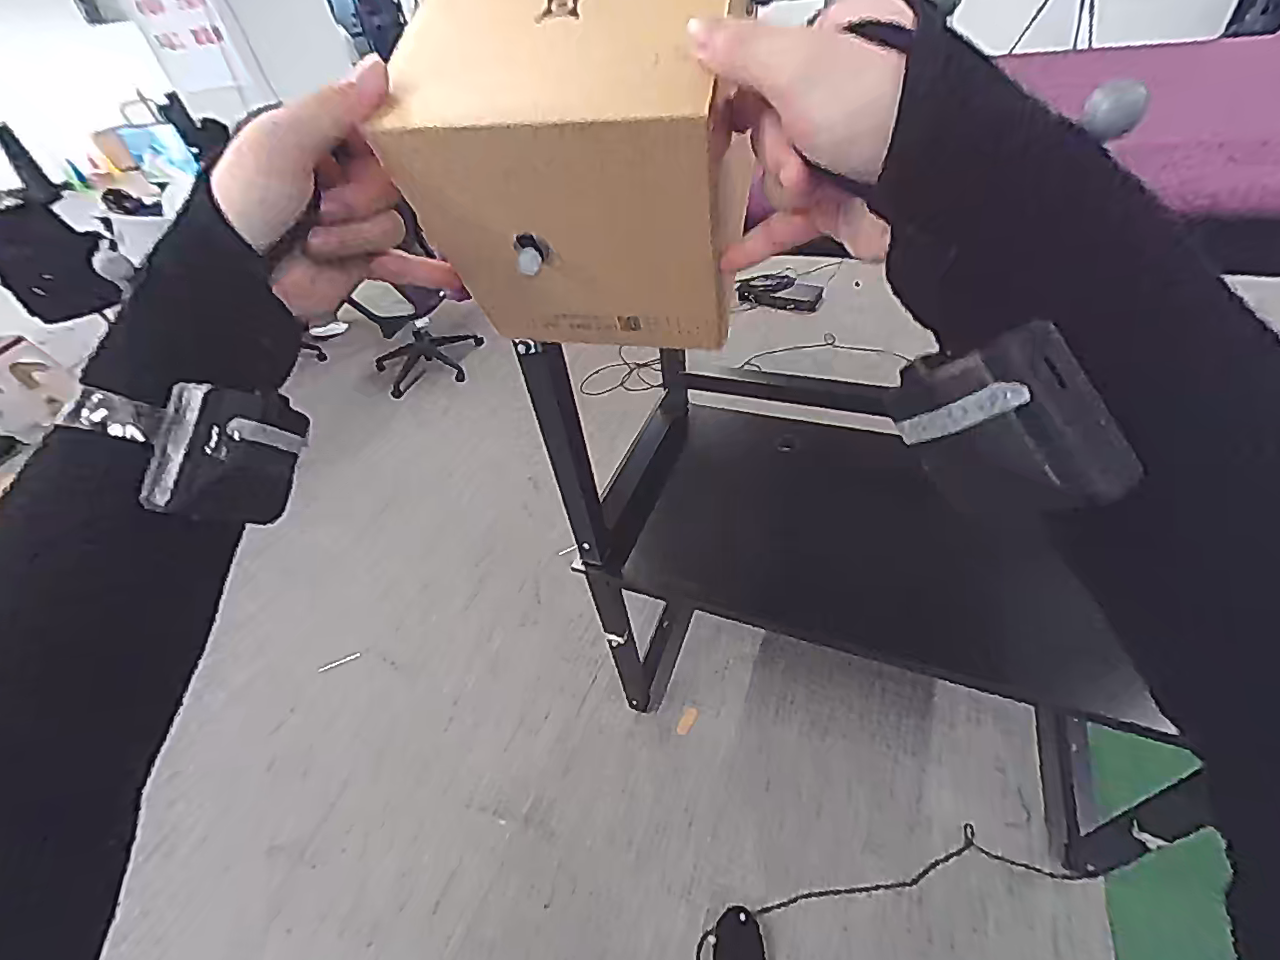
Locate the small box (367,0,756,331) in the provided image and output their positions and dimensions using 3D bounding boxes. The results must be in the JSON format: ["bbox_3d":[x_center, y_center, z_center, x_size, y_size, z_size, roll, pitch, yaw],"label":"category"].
[{"bbox_3d":[-0.020,-0.211,0.332,0.168,0.176,0.179,6,70,13],"label":"small box"}]
